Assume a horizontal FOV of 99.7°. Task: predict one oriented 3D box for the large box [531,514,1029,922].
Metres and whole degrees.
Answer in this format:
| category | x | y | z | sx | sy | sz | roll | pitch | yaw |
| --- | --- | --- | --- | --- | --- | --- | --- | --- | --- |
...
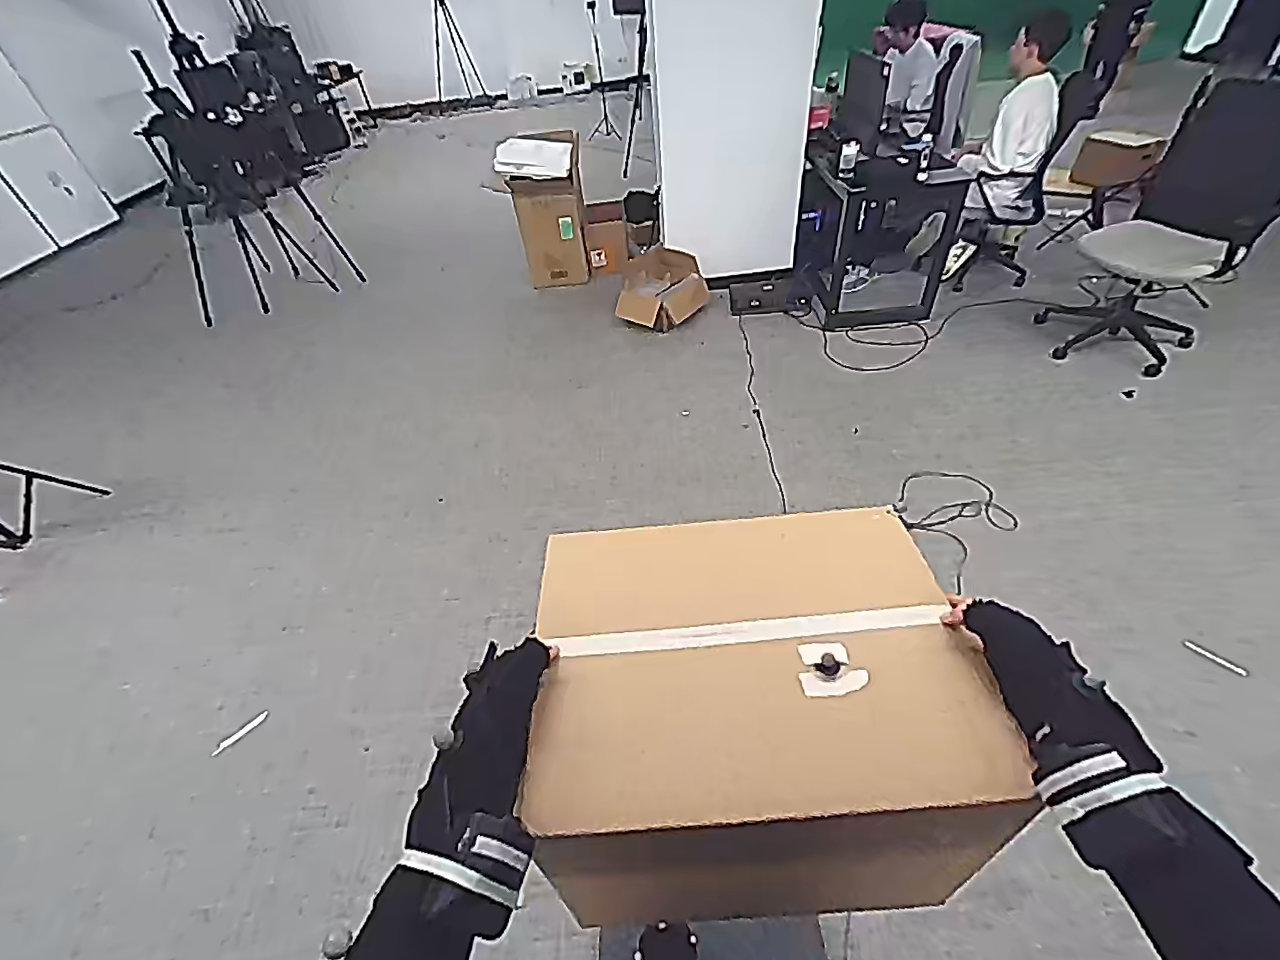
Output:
| category | x | y | z | sx | sy | sz | roll | pitch | yaw |
| --- | --- | --- | --- | --- | --- | --- | --- | --- | --- |
| large box | 0.113 | 0.270 | 0.630 | 0.408 | 0.320 | 0.320 | -5 | 40 | 1 |
